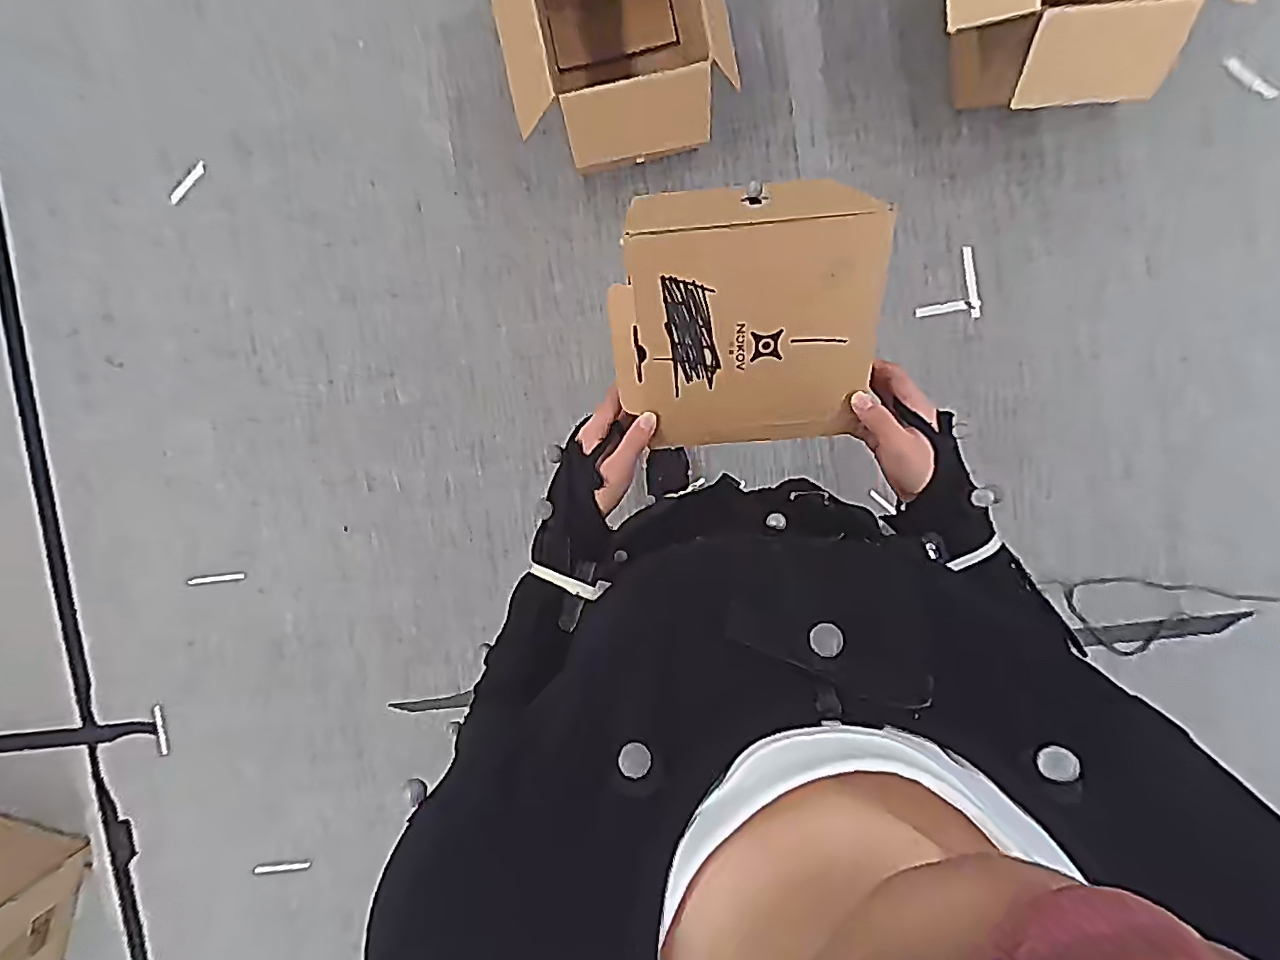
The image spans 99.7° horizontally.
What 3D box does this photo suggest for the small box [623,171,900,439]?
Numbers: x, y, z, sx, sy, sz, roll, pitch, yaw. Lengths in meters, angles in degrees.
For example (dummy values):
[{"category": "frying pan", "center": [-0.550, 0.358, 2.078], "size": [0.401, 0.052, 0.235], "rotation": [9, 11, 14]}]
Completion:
[{"category": "small box", "center": [0.084, -0.150, 0.451], "size": [0.179, 0.176, 0.168], "rotation": [-4, 125, 4]}]
